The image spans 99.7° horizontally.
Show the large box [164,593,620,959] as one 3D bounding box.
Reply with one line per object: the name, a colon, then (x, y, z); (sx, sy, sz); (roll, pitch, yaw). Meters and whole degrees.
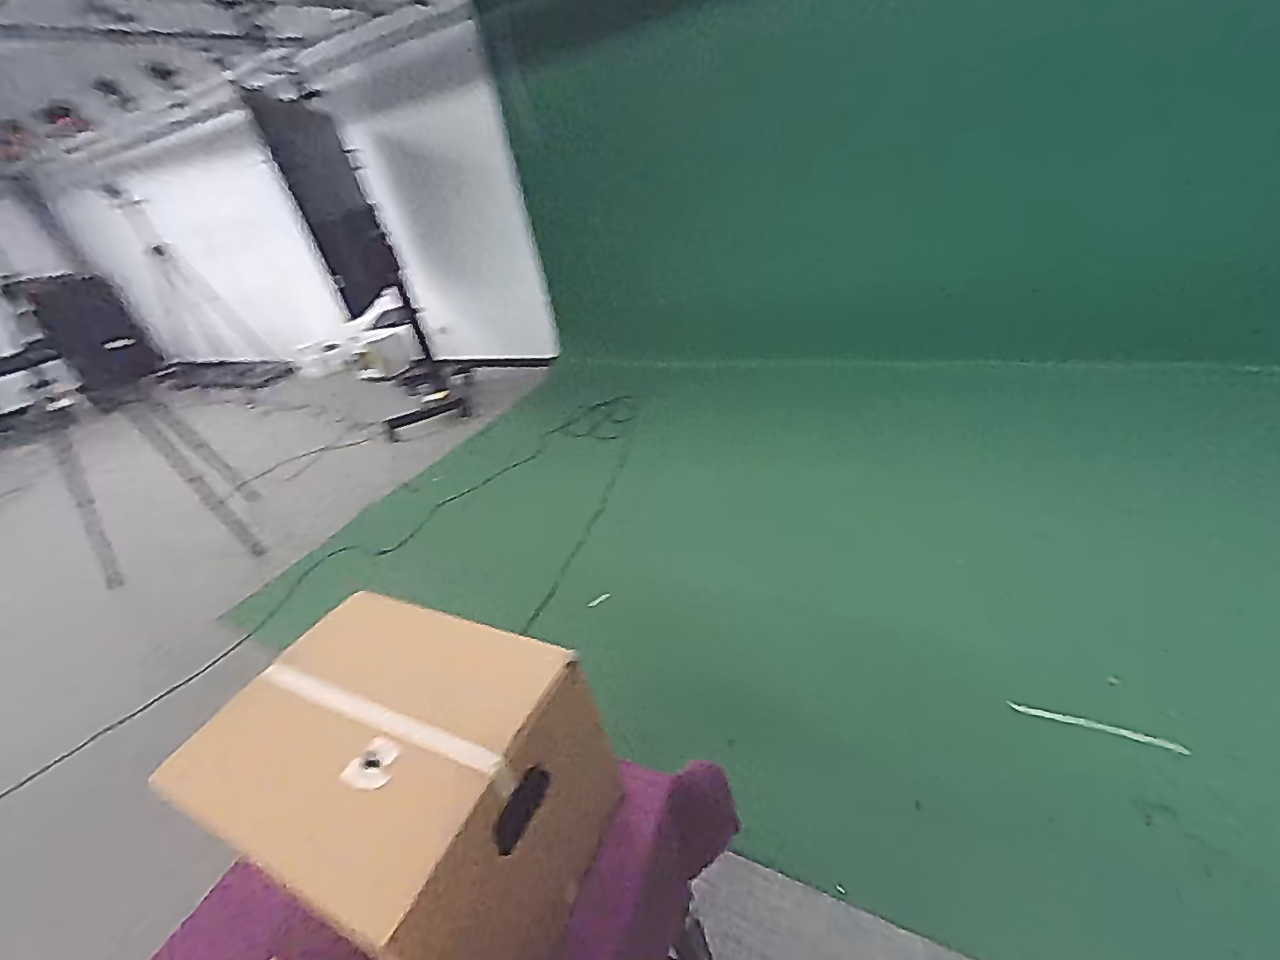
large box: (-0.289, 0.401, 0.725); (0.408, 0.320, 0.320); (7, 36, 26)
